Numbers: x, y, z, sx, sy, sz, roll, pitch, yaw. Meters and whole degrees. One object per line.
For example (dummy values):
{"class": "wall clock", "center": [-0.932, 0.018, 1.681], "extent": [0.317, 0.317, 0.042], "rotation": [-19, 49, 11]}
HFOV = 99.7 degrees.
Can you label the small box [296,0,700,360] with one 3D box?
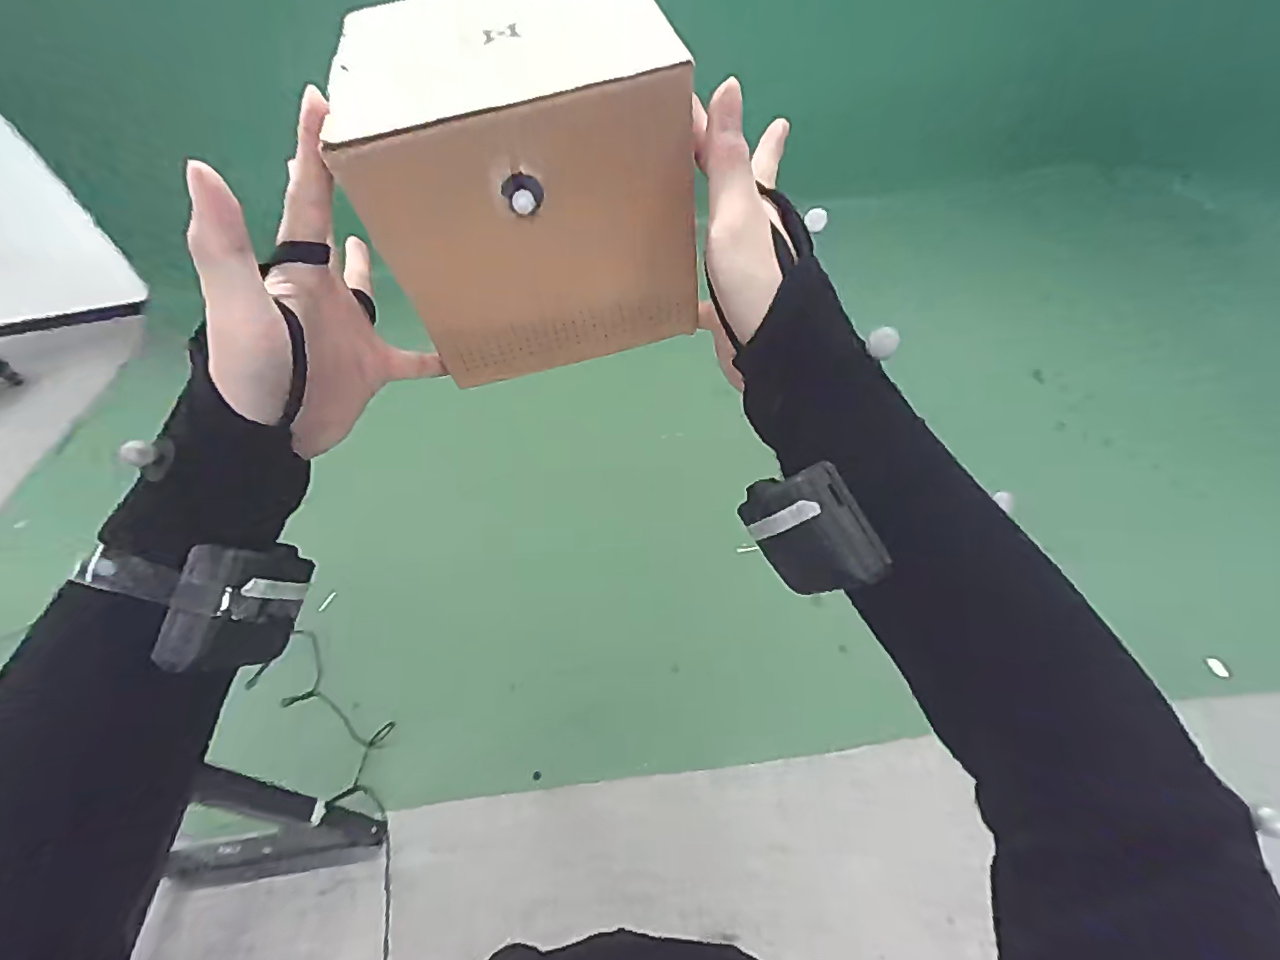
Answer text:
{"class": "small box", "center": [-0.063, -0.196, 0.335], "extent": [0.179, 0.176, 0.168], "rotation": [-11, 59, 0]}
